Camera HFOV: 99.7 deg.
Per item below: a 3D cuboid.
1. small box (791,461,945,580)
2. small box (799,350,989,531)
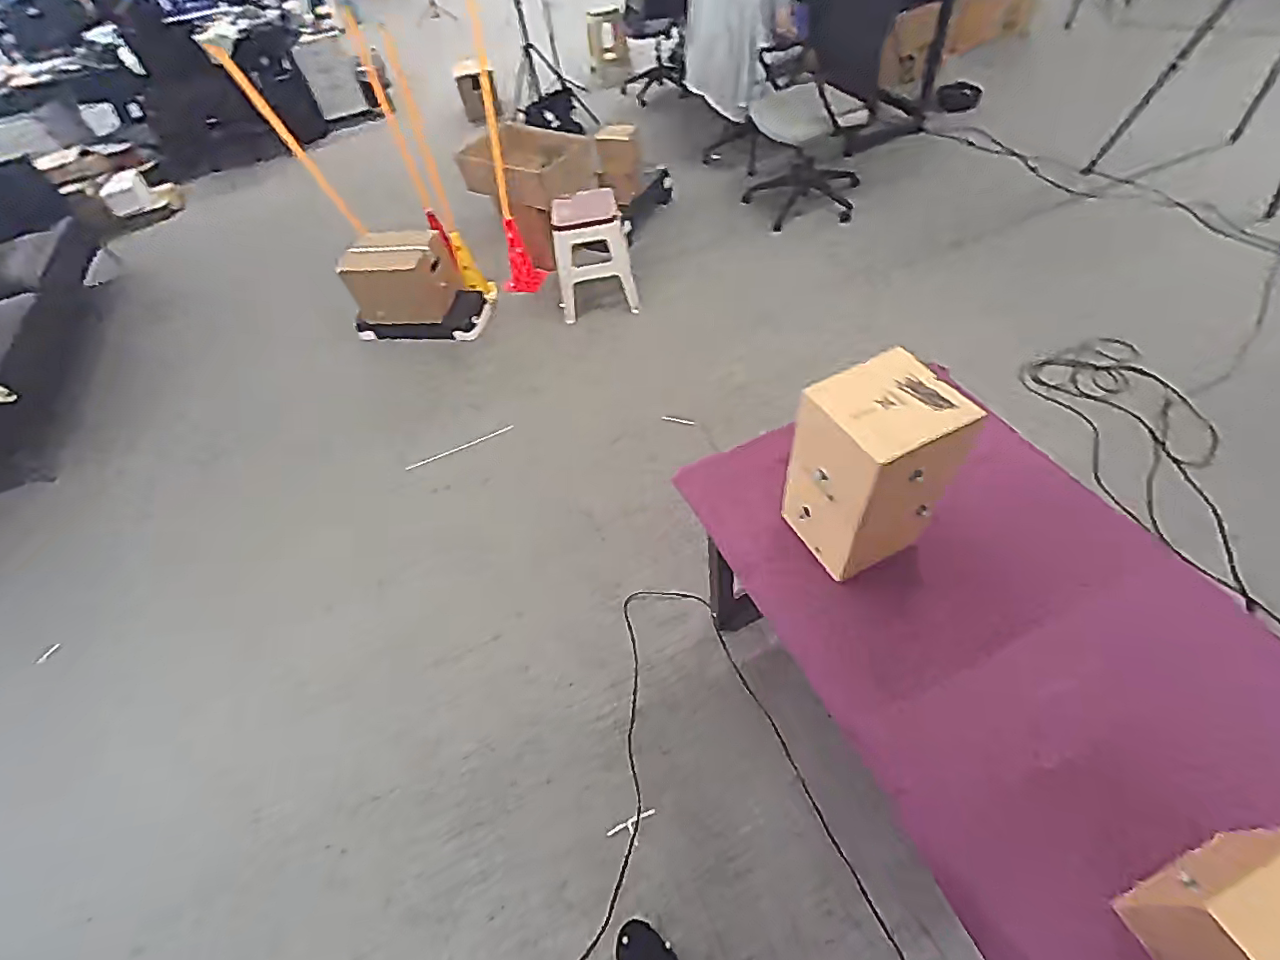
[{"bbox_3d":[0.377,0.045,0.934,0.179,0.176,0.168,-24,53,-10],"label":"small box"},{"bbox_3d":[0.359,-0.055,0.804,0.179,0.176,0.168,-24,52,-9],"label":"small box"}]
